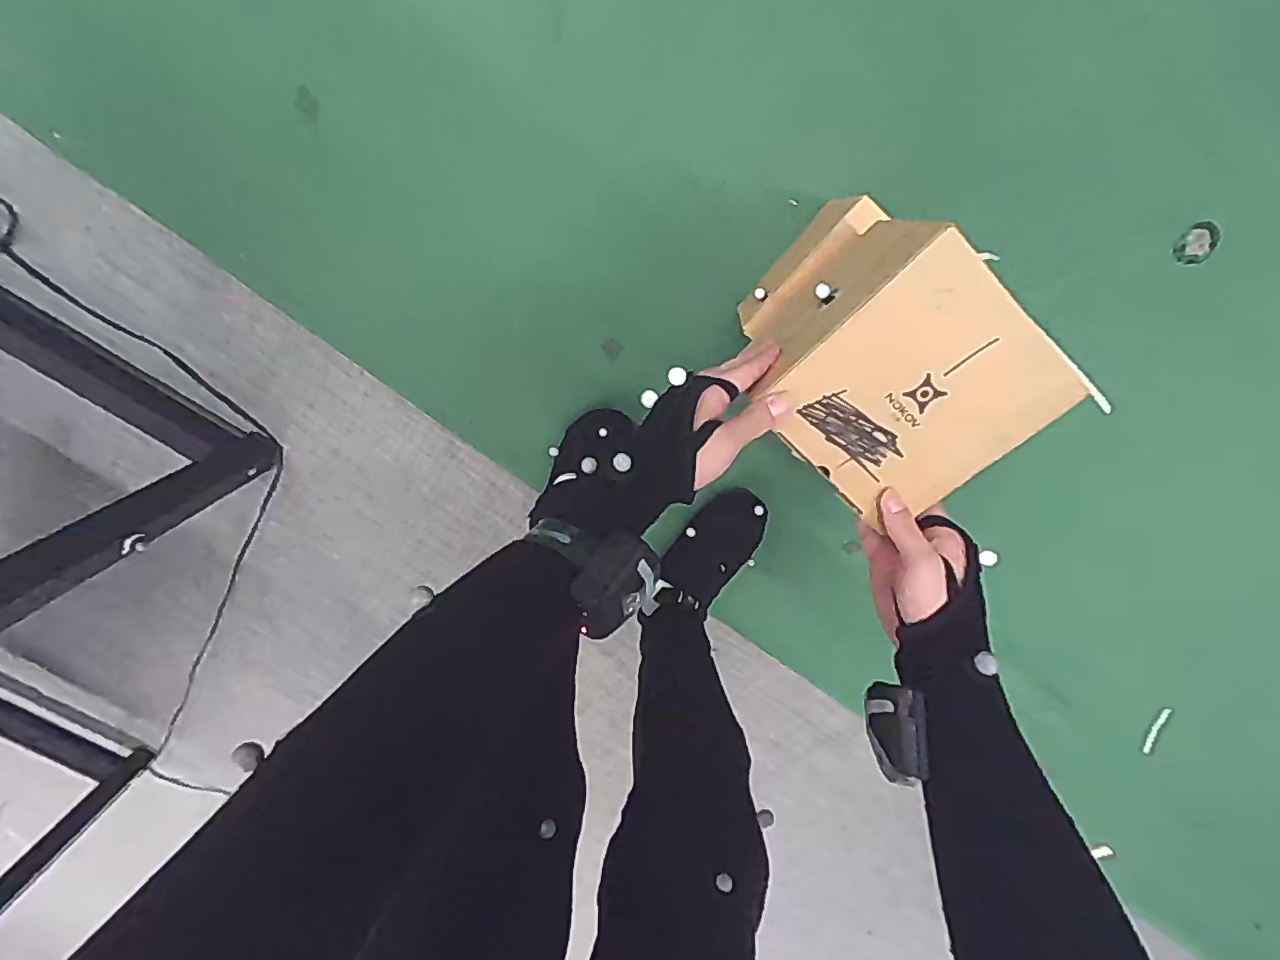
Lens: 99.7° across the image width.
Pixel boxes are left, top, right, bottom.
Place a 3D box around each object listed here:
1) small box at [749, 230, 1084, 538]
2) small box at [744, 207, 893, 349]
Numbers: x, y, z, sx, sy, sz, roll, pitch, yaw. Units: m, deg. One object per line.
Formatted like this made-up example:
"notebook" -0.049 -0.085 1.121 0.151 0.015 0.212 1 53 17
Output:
"small box" 0.211 -0.090 0.471 0.168 0.176 0.179 41 112 -14
"small box" 0.240 -0.202 0.654 0.168 0.176 0.179 37 115 -11
